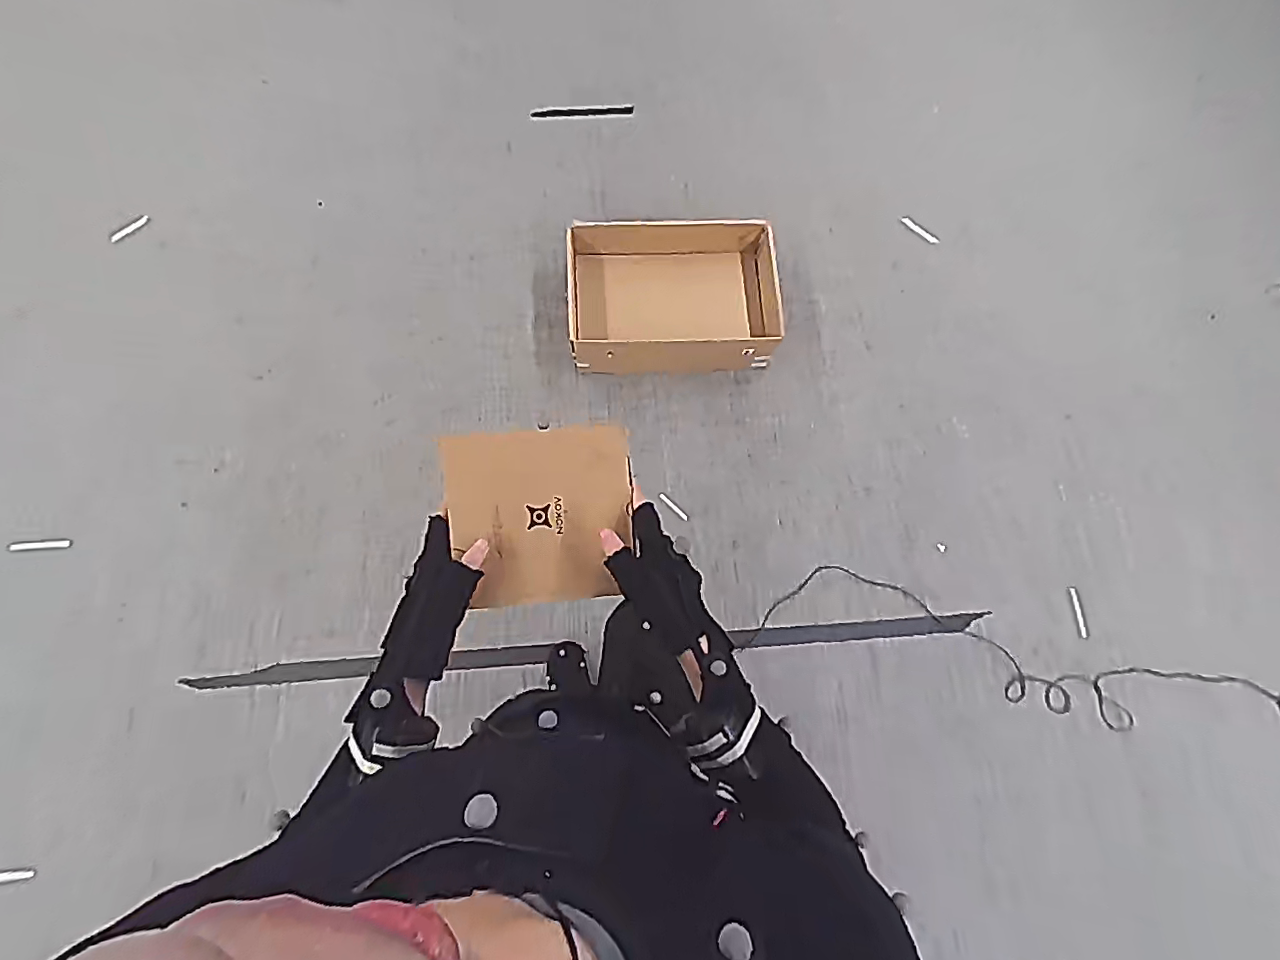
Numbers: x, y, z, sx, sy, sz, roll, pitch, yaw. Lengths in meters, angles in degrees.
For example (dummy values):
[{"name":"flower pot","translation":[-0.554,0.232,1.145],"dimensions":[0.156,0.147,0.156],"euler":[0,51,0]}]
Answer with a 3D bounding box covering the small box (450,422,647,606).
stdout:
[{"name":"small box","translation":[-0.095,0.031,0.591],"dimensions":[0.179,0.176,0.168],"euler":[-5,89,-6]}]
